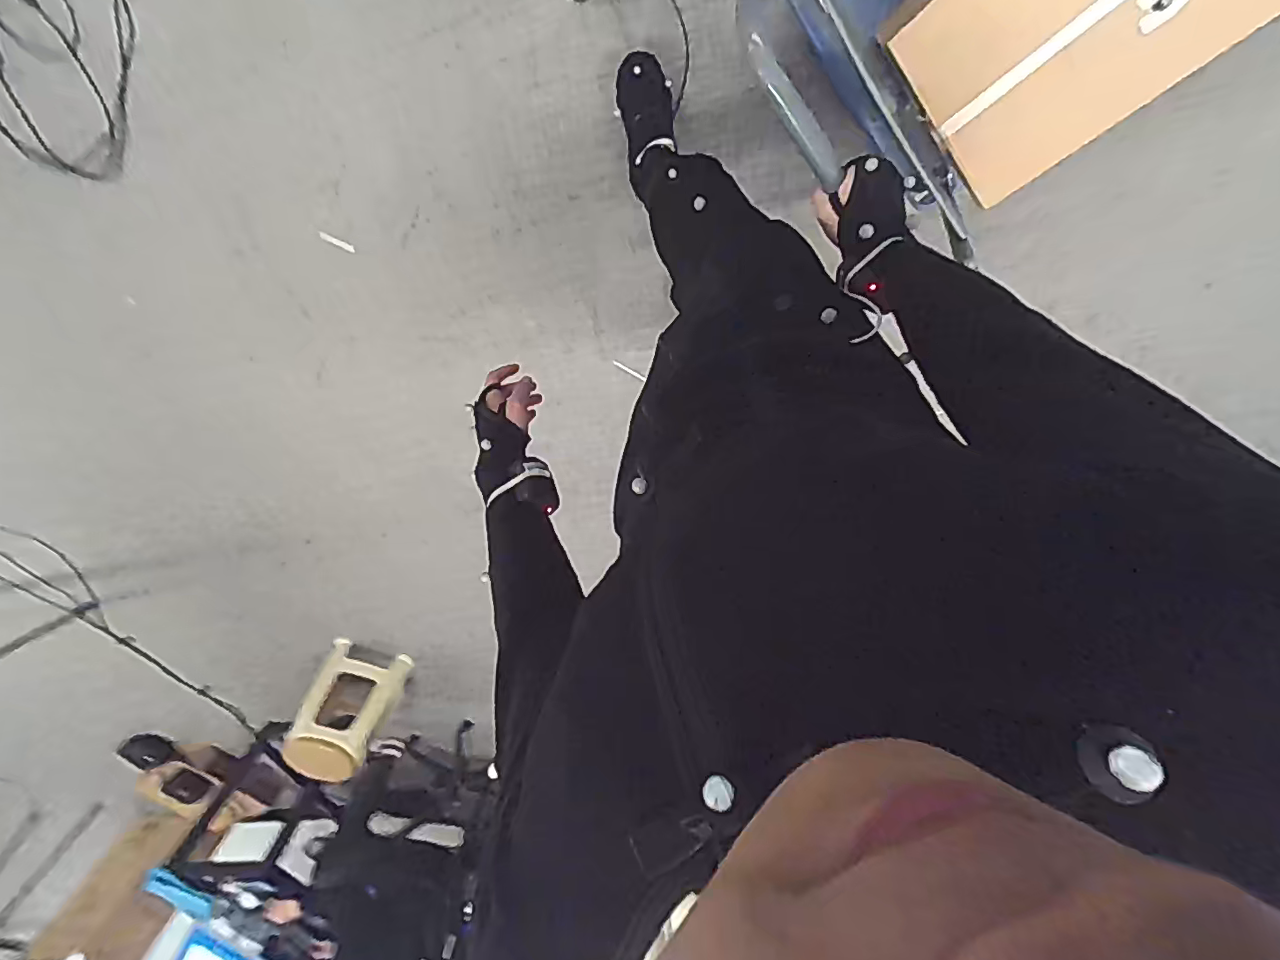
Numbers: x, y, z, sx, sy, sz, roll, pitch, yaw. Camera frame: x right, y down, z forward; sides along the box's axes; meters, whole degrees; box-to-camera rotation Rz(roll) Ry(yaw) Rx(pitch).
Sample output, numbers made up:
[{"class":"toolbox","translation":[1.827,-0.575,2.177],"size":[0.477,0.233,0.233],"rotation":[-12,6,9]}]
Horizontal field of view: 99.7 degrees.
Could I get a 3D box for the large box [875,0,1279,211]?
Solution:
[{"class":"large box","translation":[0.649,-0.728,0.861],"size":[0.408,0.320,0.320],"rotation":[-31,115,36]}]
